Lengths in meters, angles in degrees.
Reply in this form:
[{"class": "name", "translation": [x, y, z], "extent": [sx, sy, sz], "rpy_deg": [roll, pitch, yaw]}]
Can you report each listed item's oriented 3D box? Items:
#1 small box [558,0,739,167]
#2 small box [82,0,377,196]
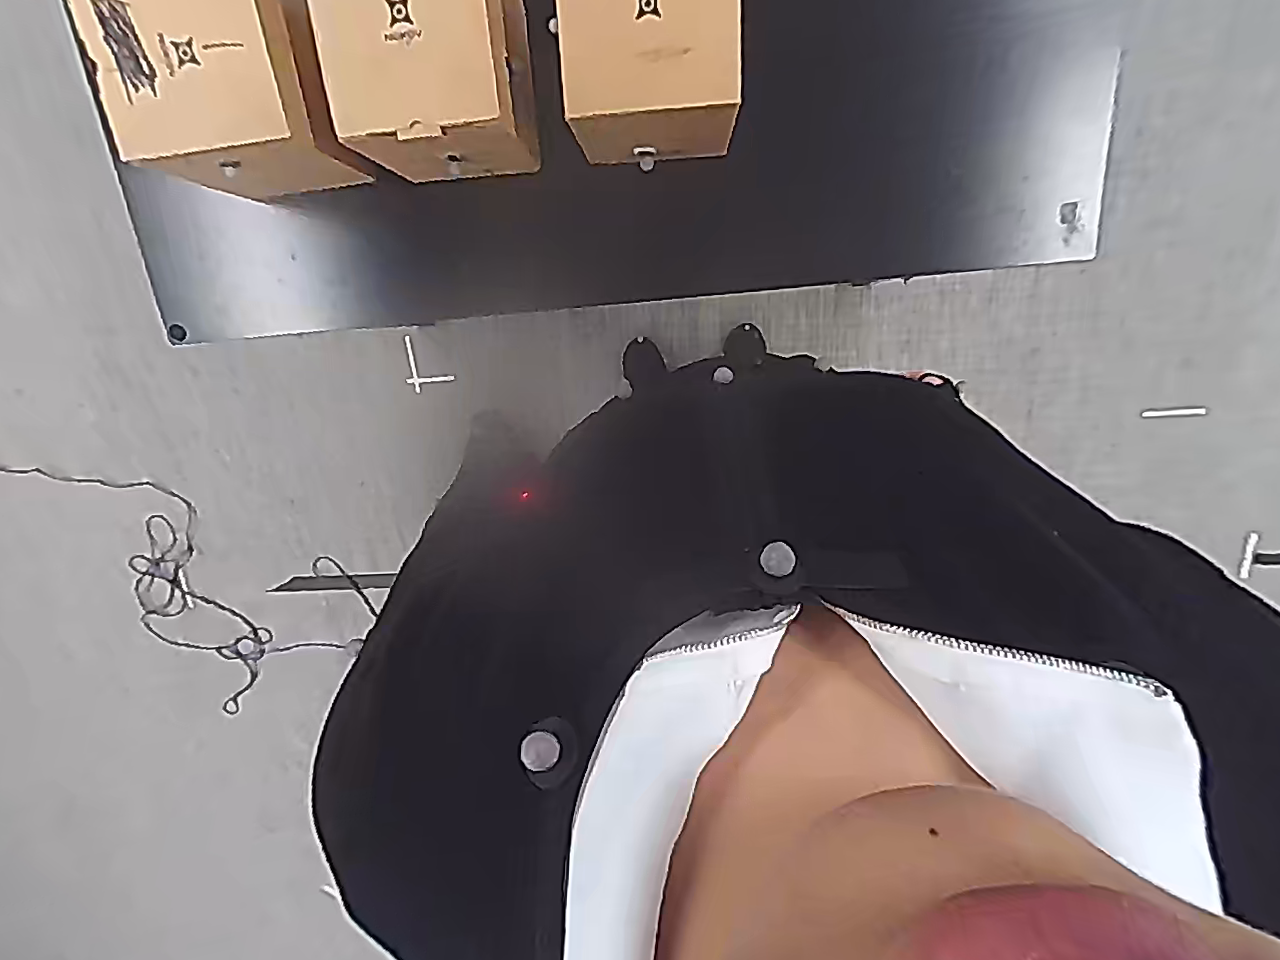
[{"class": "small box", "translation": [0.012, -0.451, 0.563], "extent": [0.168, 0.176, 0.179], "rpy_deg": [-3, 107, 6]}, {"class": "small box", "translation": [-0.428, -0.426, 0.591], "extent": [0.179, 0.176, 0.168], "rpy_deg": [-6, 106, 4]}]
